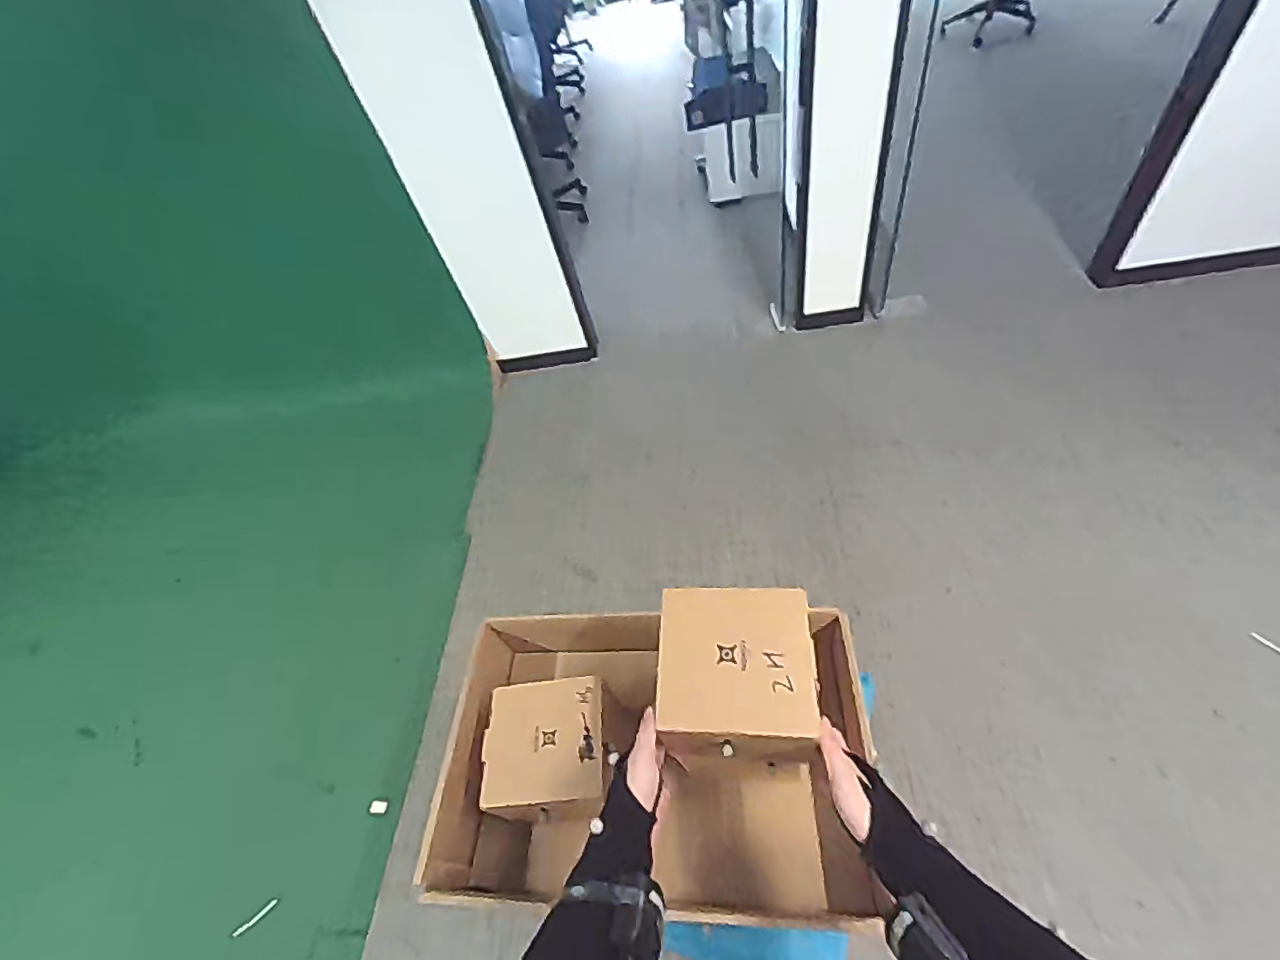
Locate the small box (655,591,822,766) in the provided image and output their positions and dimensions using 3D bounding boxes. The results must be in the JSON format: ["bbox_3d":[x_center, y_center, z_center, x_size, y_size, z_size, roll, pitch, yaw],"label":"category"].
[{"bbox_3d":[0.121,0.249,0.673,0.179,0.176,0.168,-1,55,10],"label":"small box"}]
